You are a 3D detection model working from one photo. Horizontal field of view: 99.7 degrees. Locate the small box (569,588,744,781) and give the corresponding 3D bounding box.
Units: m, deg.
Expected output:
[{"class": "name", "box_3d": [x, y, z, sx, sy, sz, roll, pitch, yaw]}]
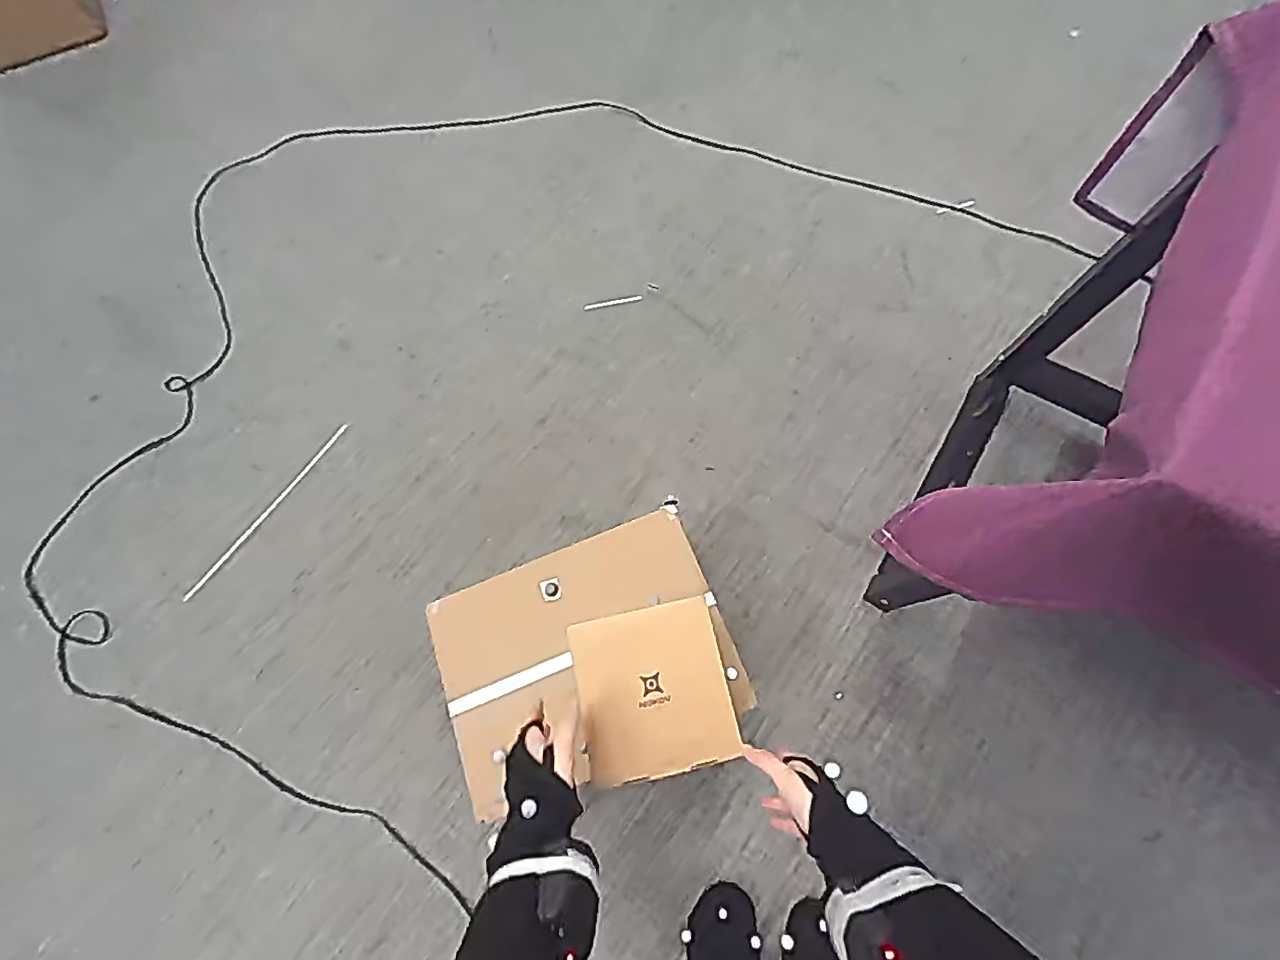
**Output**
[{"class": "small box", "box_3d": [0.017, 0.241, 0.673, 0.168, 0.176, 0.179, -13, 77, -1]}]
